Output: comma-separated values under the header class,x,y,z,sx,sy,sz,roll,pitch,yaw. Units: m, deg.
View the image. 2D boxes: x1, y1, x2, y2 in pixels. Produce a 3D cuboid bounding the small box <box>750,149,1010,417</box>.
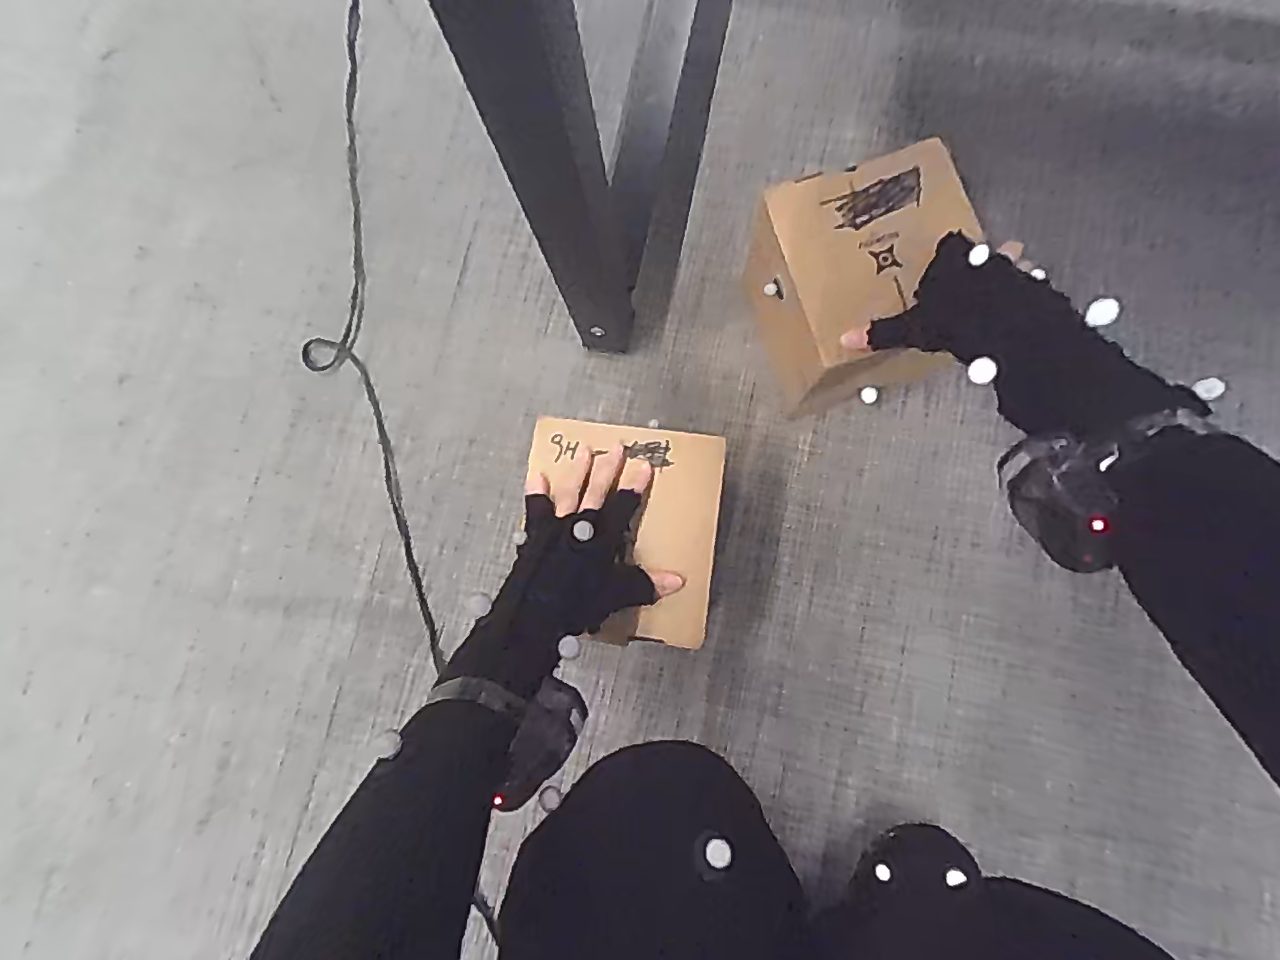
class,x,y,z,sx,sy,sz,roll,pitch,yaw
small box,0.219,-0.183,0.549,0.168,0.176,0.179,-14,81,2
